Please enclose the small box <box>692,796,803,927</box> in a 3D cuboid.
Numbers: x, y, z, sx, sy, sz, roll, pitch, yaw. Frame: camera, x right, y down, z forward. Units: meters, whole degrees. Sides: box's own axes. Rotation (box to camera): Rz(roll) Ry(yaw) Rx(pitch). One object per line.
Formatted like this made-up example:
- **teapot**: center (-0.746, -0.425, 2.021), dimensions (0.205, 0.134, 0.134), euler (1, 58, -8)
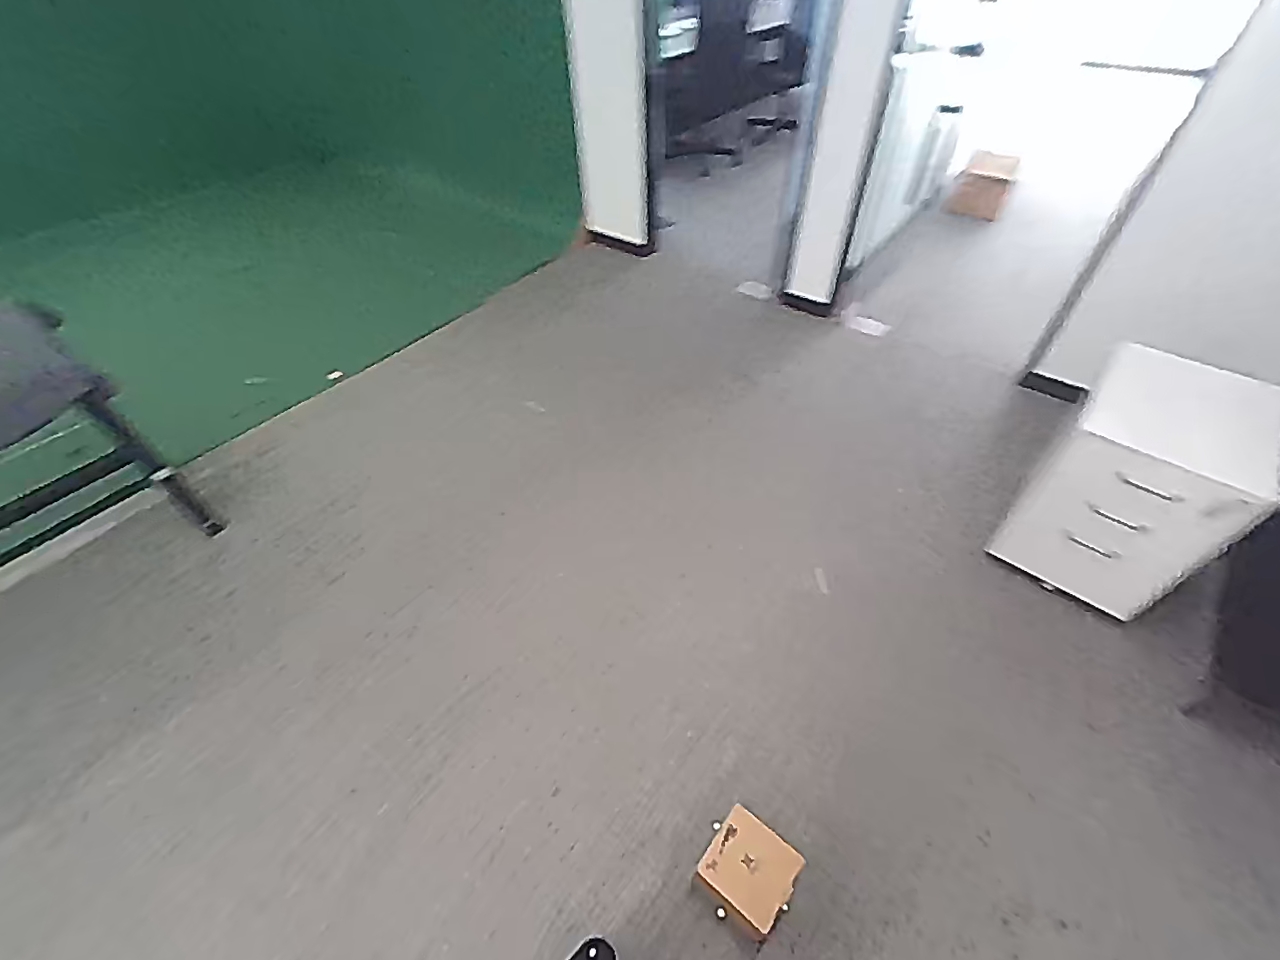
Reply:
- **small box**: center (0.235, 0.859, 1.219), dimensions (0.179, 0.176, 0.168), euler (32, 56, 25)
